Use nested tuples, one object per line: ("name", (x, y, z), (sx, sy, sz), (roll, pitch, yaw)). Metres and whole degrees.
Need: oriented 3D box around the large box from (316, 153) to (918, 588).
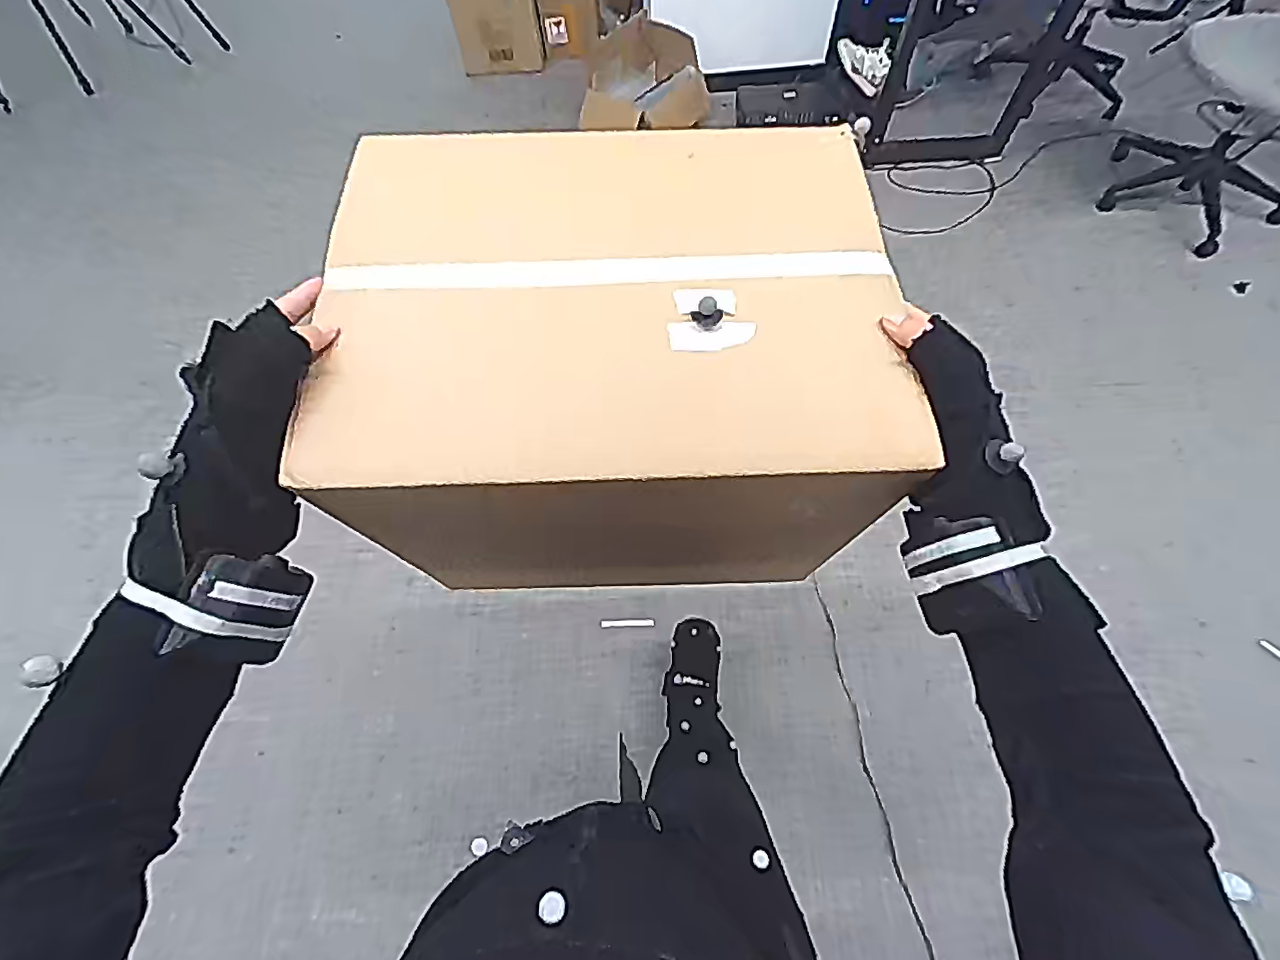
("large box", (-0.021, -0.082, 0.547), (0.408, 0.320, 0.320), (-2, 67, -1))
